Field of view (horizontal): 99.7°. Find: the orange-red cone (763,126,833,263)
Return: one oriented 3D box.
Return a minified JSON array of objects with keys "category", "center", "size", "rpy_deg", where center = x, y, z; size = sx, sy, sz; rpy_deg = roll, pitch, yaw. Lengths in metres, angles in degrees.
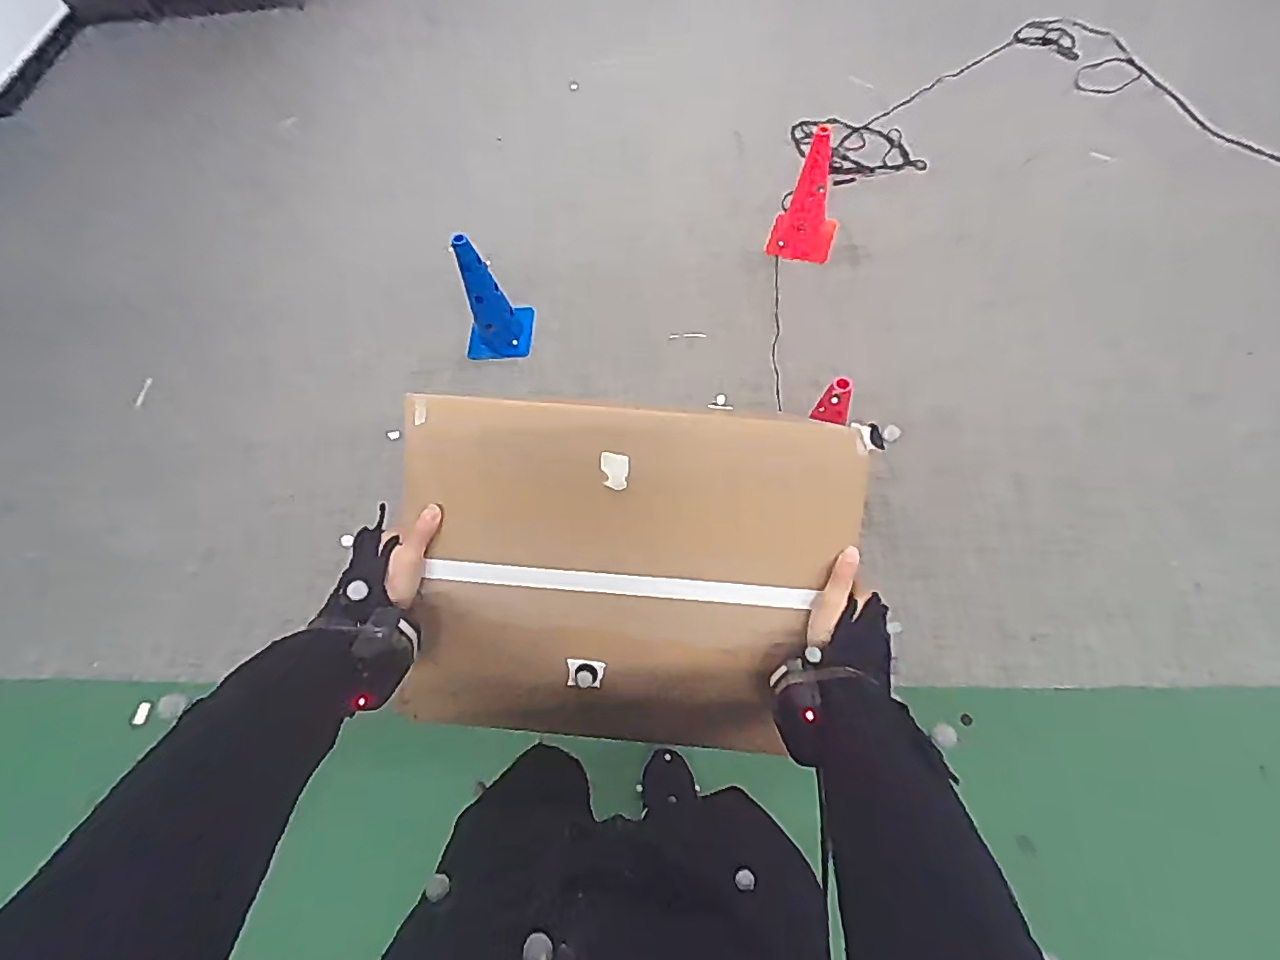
[{"category":"orange-red cone","center":[0.503,-0.869,1.614],"size":[0.199,0.360,0.198],"rpy_deg":[17,67,13]}]

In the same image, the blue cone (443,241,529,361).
[{"category":"blue cone","center":[-0.468,-0.531,1.573],"size":[0.192,0.380,0.193],"rpy_deg":[-2,63,6]}]
